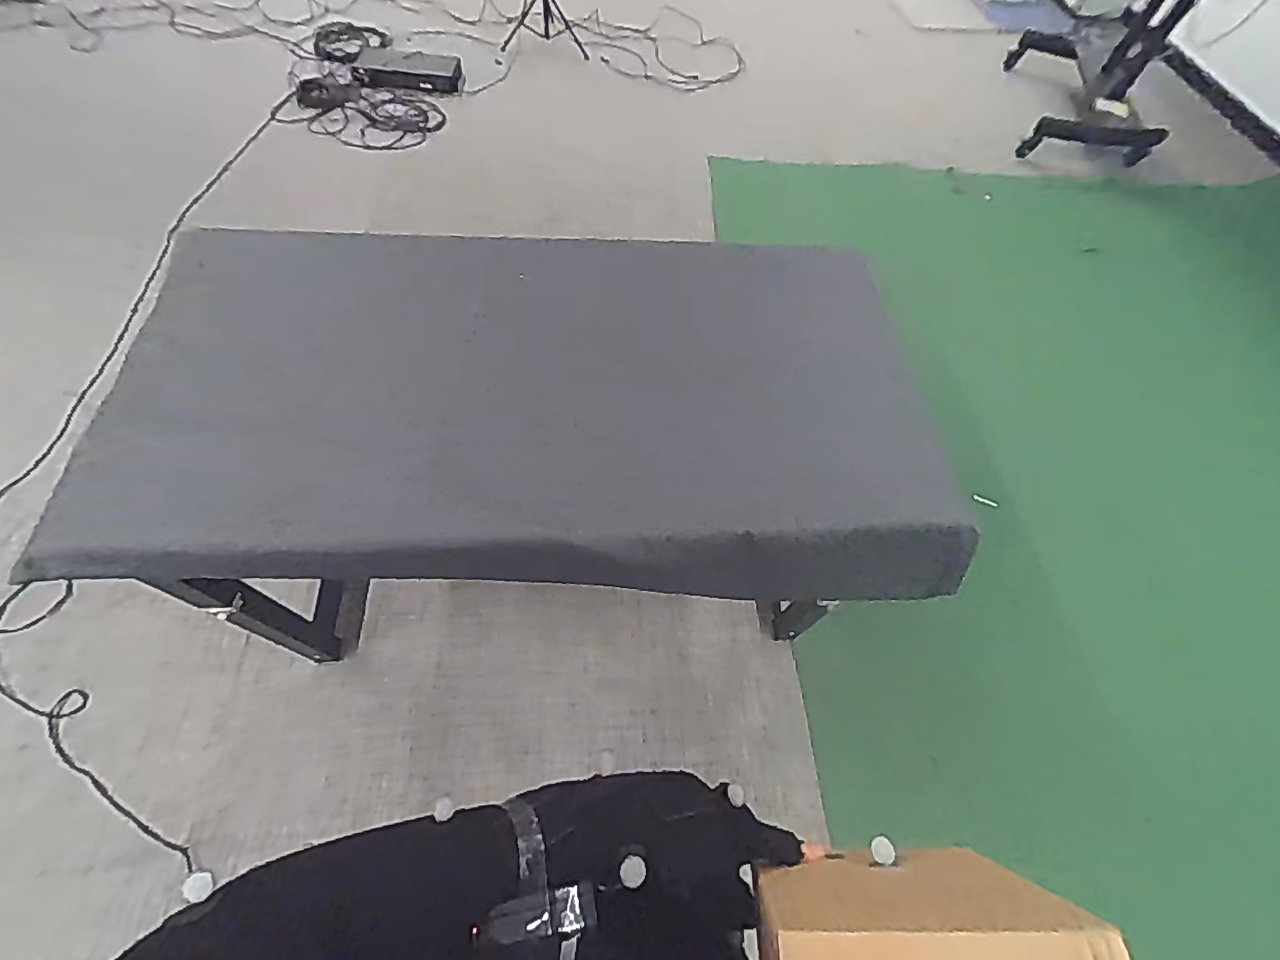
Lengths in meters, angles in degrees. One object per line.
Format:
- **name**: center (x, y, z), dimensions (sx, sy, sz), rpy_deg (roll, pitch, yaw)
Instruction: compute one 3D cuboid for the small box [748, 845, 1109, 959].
- **small box**: center (0.157, 0.338, 0.316), dimensions (0.168, 0.176, 0.179), rpy_deg (-3, 66, 5)
